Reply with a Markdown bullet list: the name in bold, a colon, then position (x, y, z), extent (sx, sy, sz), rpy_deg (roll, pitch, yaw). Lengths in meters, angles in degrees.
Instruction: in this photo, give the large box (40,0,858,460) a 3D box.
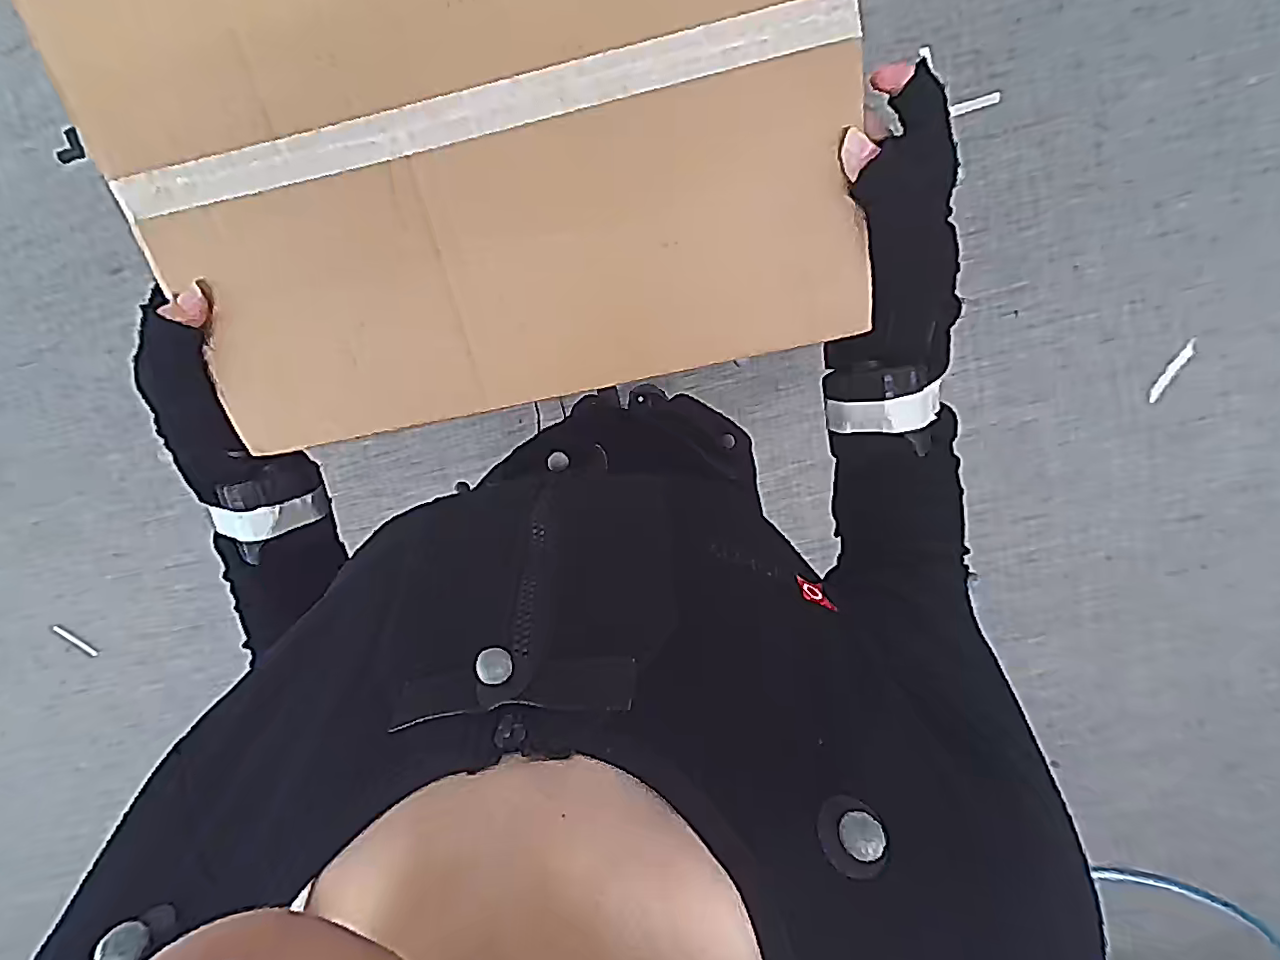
- **large box**: position (-0.087, -0.248, 0.433), extent (0.408, 0.320, 0.320), rpy_deg (-11, 112, 5)
